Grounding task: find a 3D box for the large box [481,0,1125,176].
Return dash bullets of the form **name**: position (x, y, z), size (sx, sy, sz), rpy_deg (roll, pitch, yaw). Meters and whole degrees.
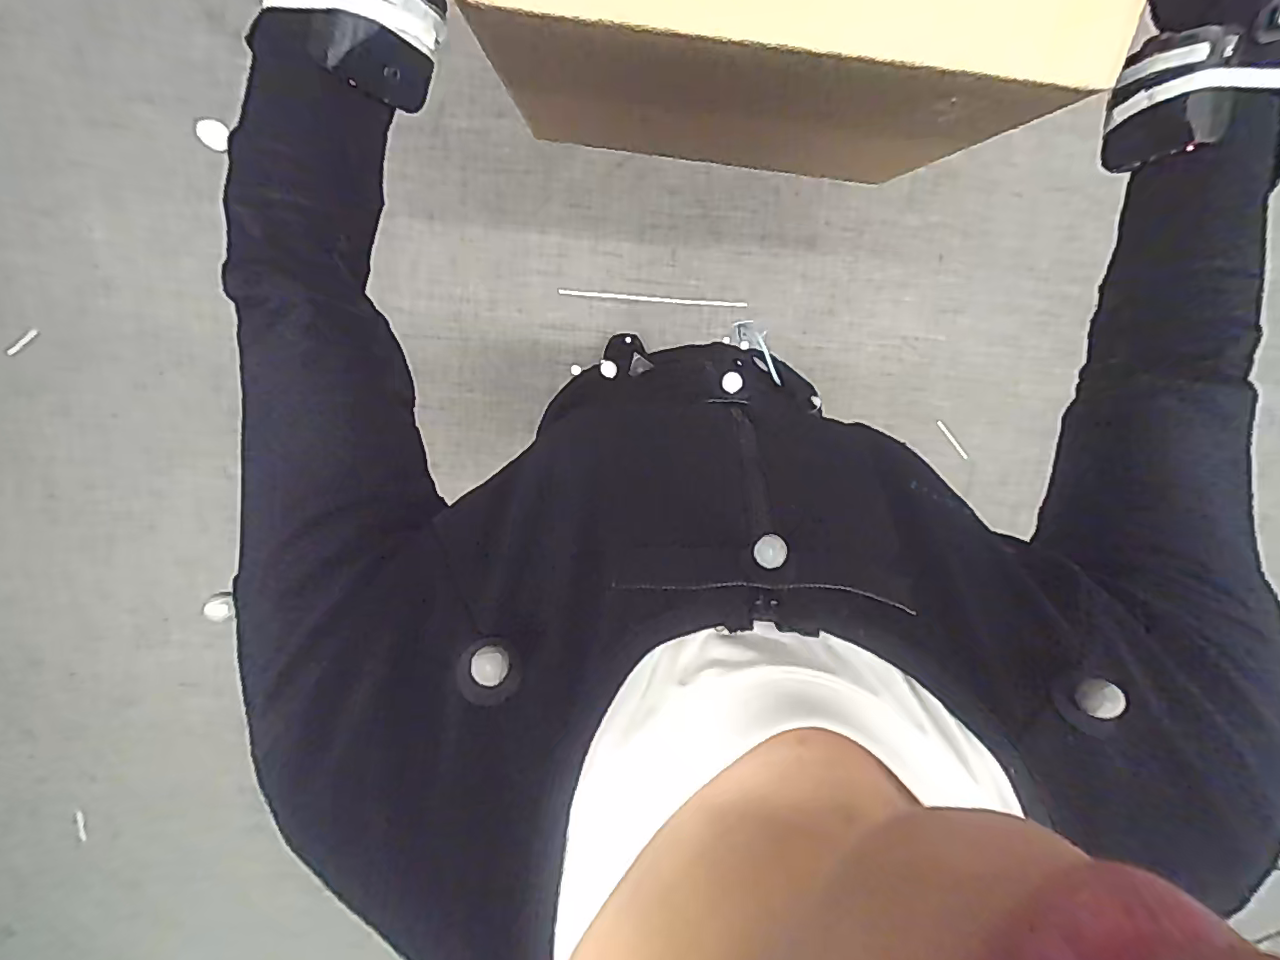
- **large box**: position (0.101, -0.459, 0.423), size (0.408, 0.320, 0.320), rpy_deg (4, 109, -5)
